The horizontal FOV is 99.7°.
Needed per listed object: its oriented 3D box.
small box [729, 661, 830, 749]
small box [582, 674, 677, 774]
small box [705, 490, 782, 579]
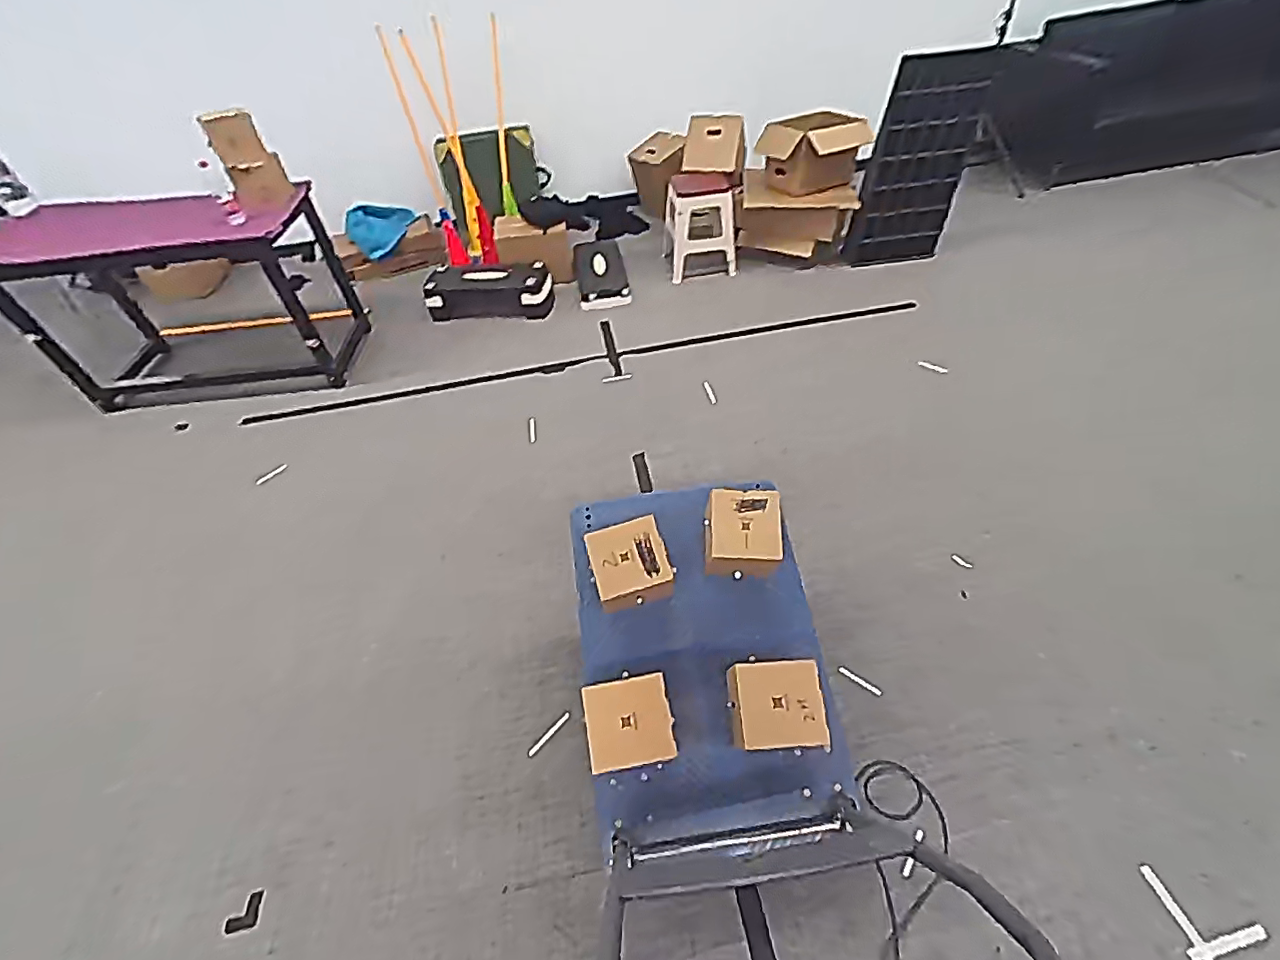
[{"bbox_3d":[0.293,0.496,1.185,0.179,0.176,0.168,-3,65,0],"label":"small box"},{"bbox_3d":[-0.022,0.531,1.176,0.179,0.176,0.168,-10,65,-5],"label":"small box"},{"bbox_3d":[0.252,0.139,1.353,0.168,0.176,0.179,2,66,2],"label":"small box"}]
